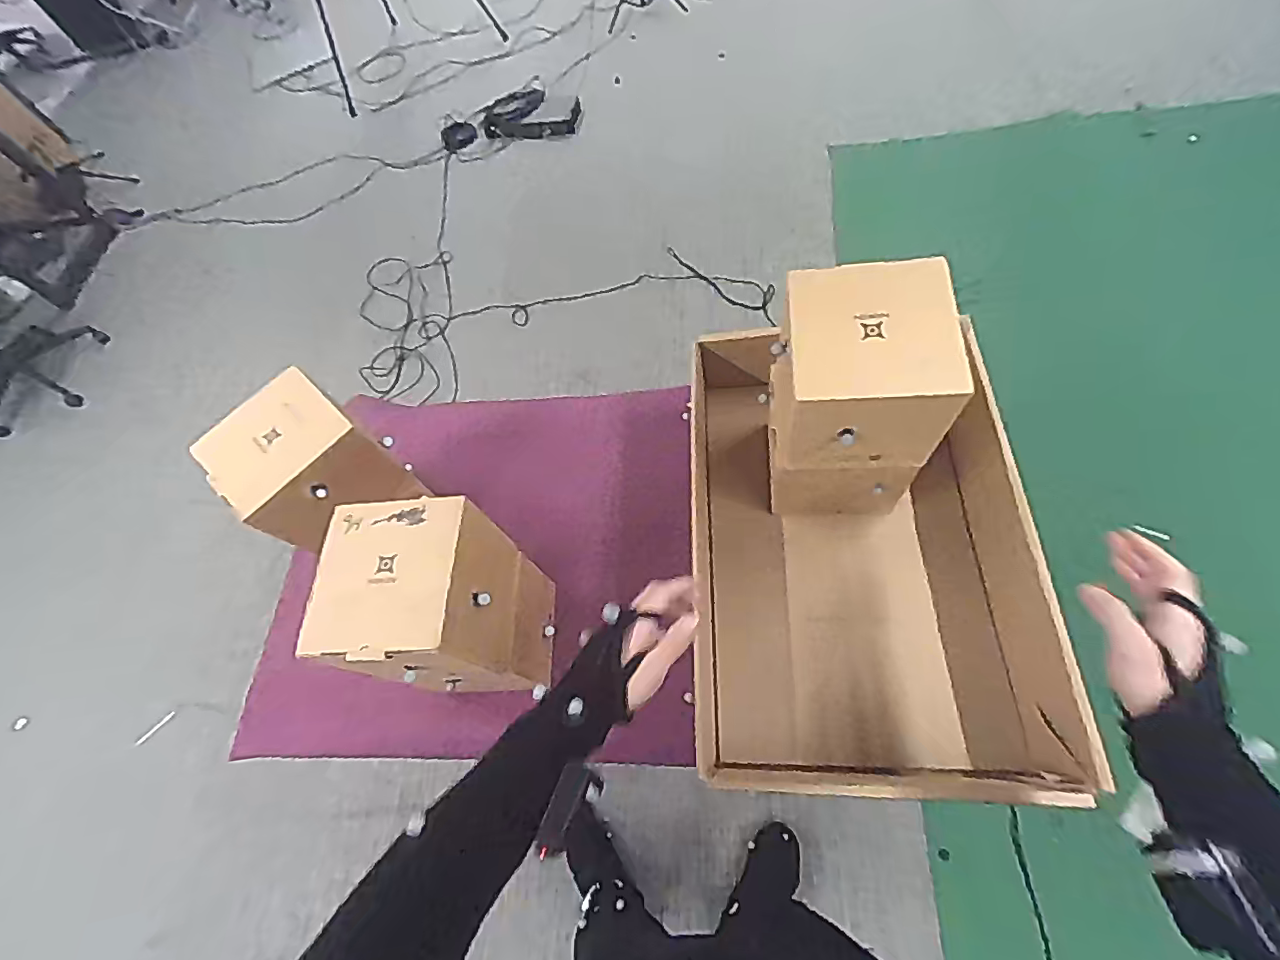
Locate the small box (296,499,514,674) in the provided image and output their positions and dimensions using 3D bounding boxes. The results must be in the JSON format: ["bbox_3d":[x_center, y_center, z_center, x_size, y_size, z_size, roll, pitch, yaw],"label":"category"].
[{"bbox_3d":[-0.265,0.138,0.658,0.168,0.176,0.179,-3,63,8],"label":"small box"}]

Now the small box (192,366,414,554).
[{"bbox_3d":[-0.468,-0.020,0.774,0.168,0.176,0.179,39,76,23],"label":"small box"}]

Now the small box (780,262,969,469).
[{"bbox_3d":[0.254,-0.121,0.632,0.168,0.176,0.179,-1,65,11],"label":"small box"}]

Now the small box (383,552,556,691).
[{"bbox_3d":[-0.238,0.215,0.799,0.179,0.176,0.168,-5,62,8],"label":"small box"}]
